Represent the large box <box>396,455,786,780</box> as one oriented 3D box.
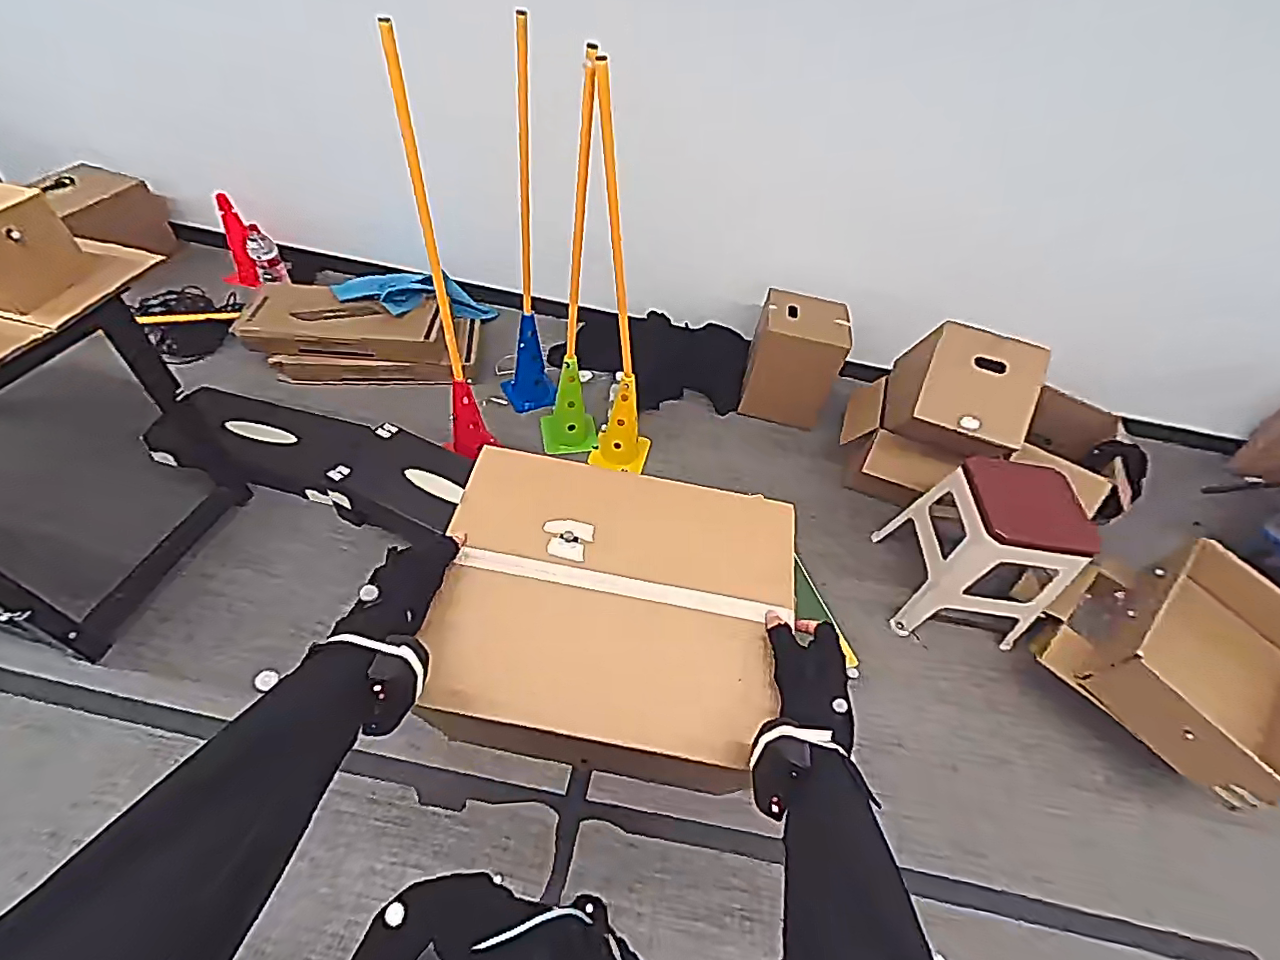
[{"bbox_3d":[-0.040,0.204,0.744,0.408,0.320,0.320,11,56,1],"label":"large box"}]
